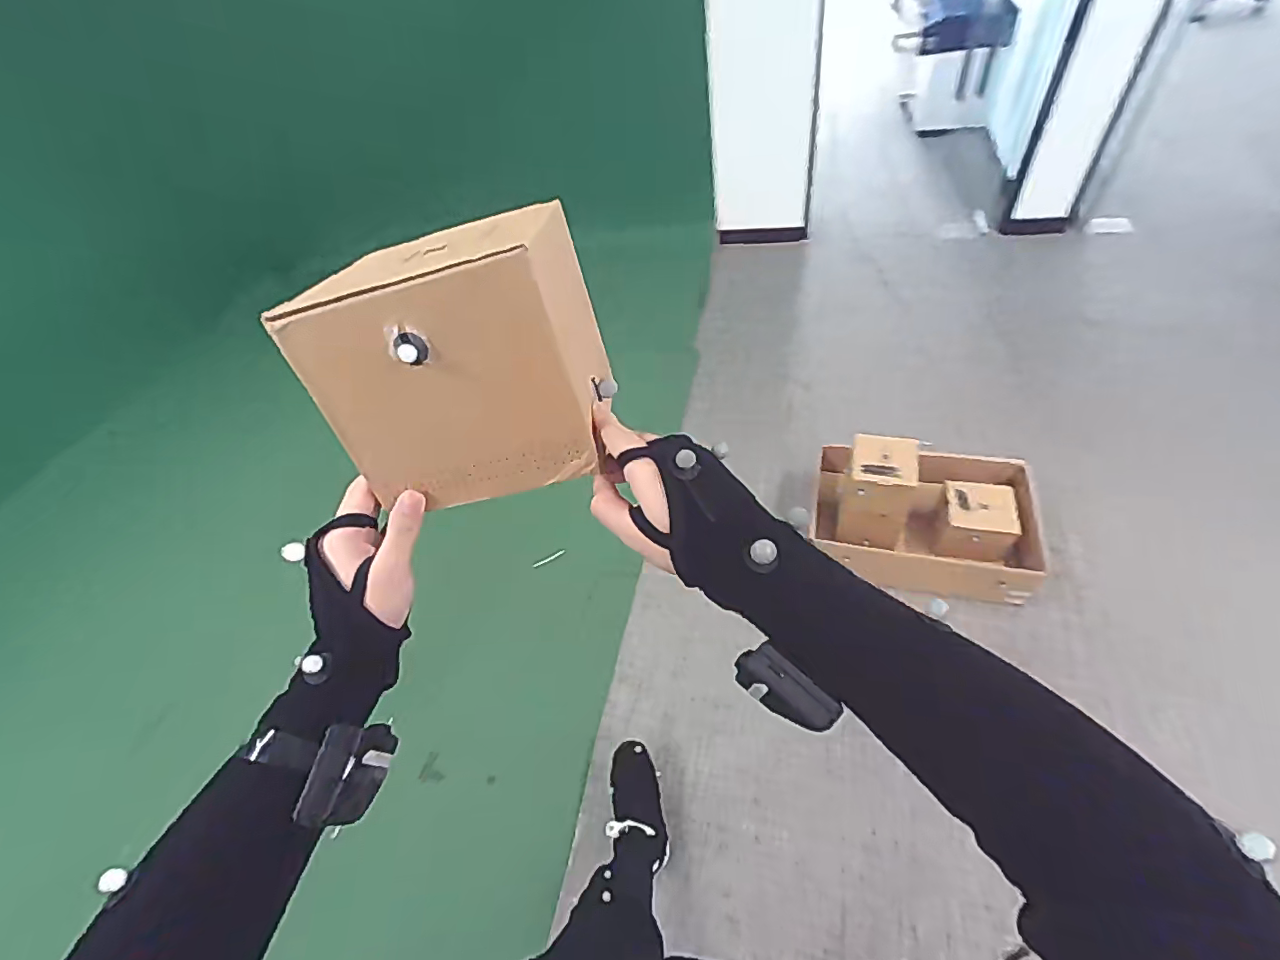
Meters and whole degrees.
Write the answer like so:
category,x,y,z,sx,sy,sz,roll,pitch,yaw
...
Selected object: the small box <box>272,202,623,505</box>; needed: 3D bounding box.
category,x,y,z,sx,sy,sz,roll,pitch,yaw
small box,-0.123,-0.098,0.426,0.179,0.176,0.168,-10,34,8
